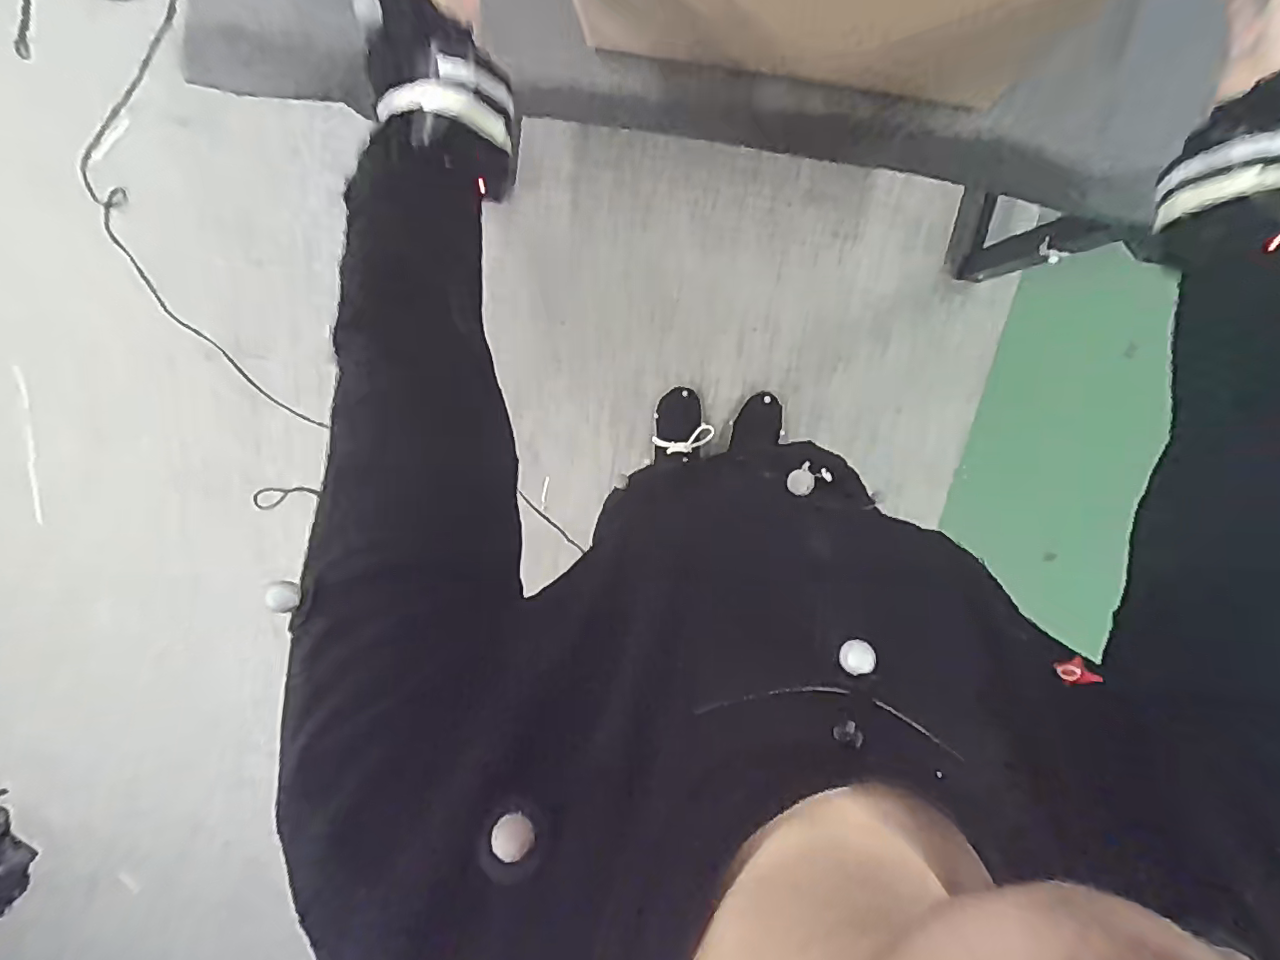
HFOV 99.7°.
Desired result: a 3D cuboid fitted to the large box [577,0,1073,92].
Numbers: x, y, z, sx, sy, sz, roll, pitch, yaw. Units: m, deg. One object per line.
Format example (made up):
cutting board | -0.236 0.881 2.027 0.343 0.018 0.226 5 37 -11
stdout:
large box | 0.150 -0.529 0.366 0.408 0.320 0.320 11 102 3
